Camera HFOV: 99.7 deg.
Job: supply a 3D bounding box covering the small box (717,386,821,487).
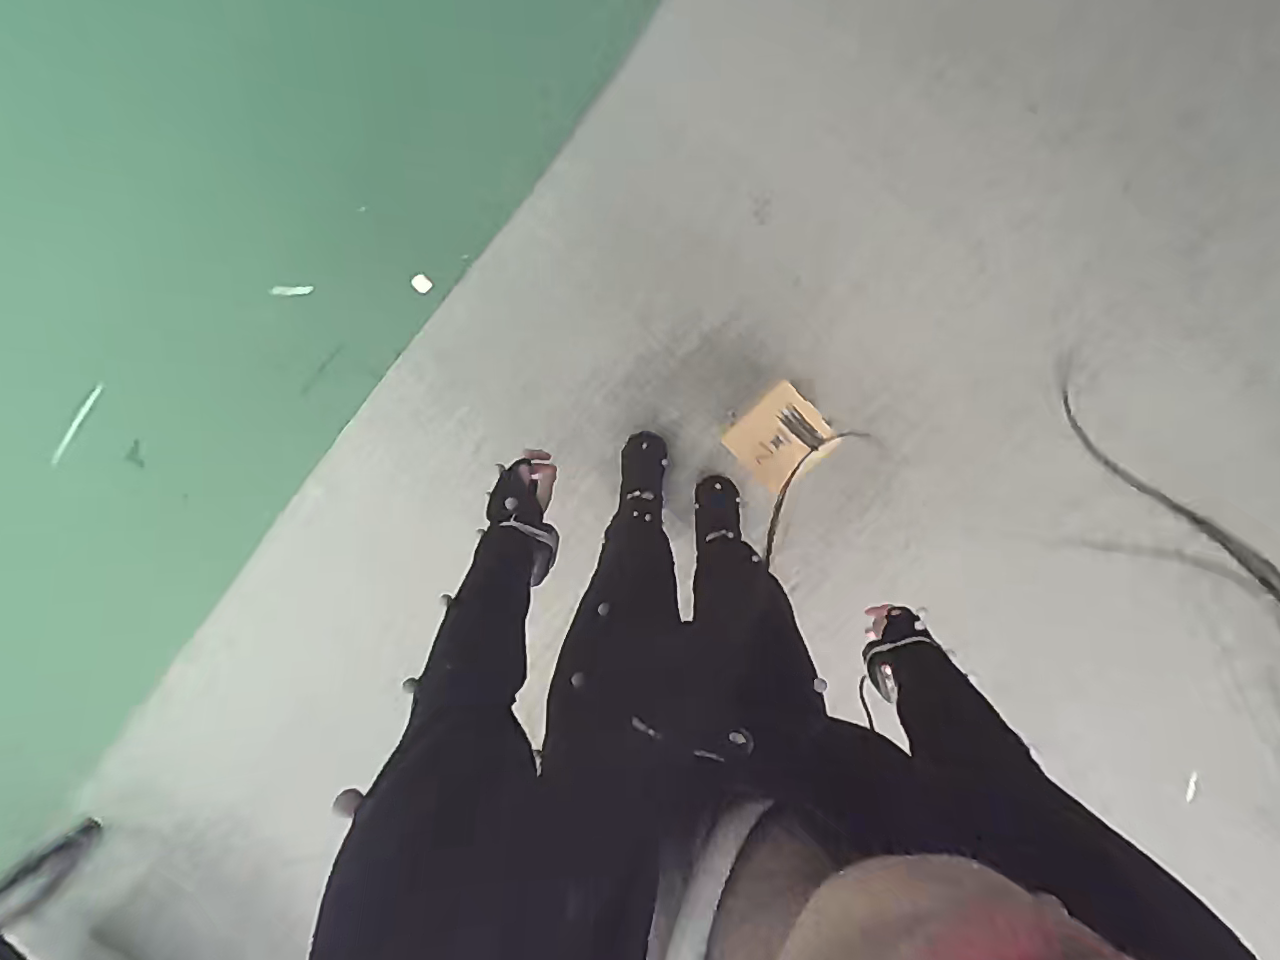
[{"bbox_3d":[0.305,-0.106,1.303,0.179,0.176,0.168,-40,92,11],"label":"small box"}]
